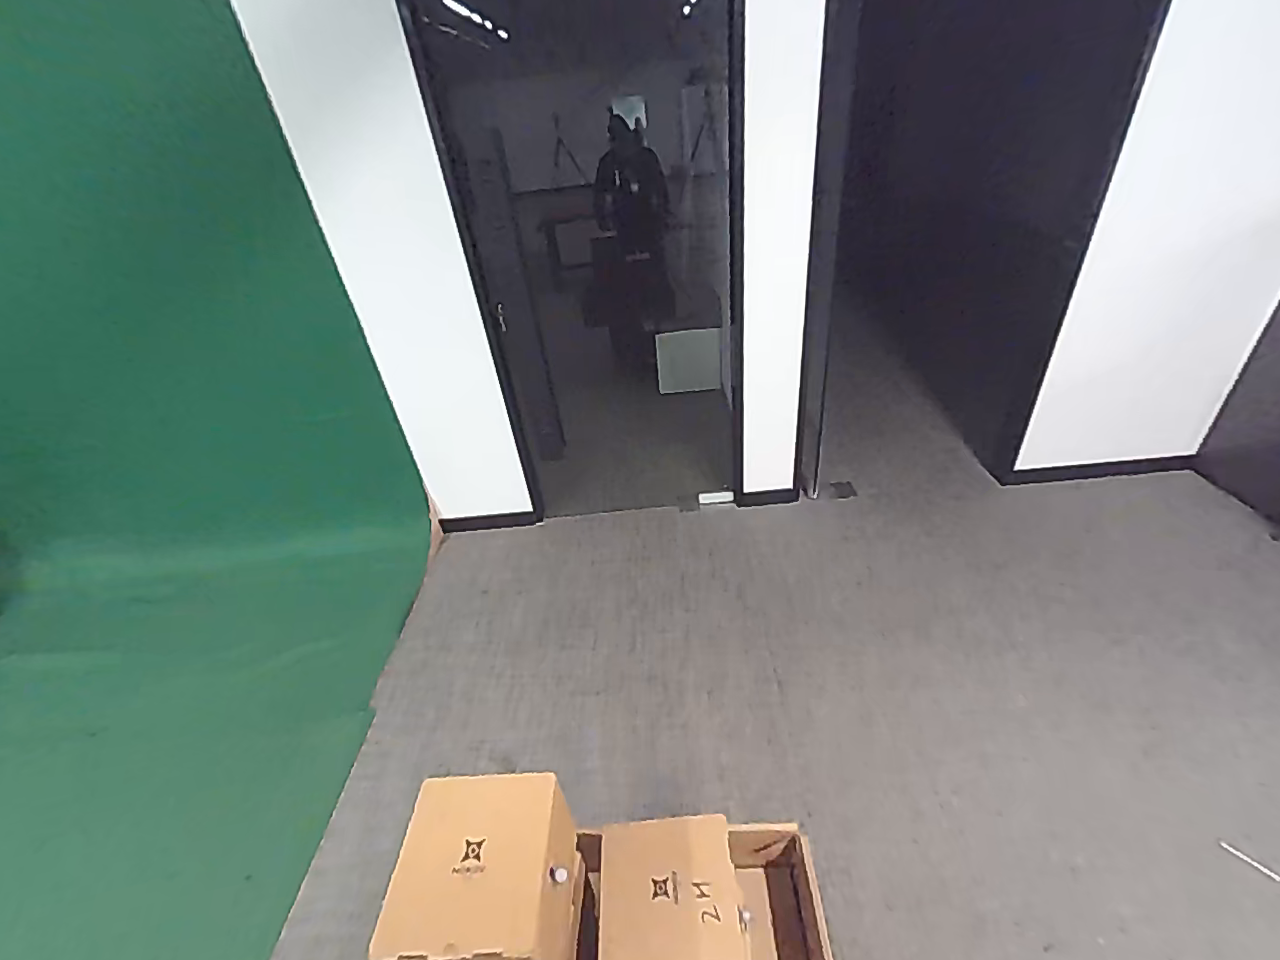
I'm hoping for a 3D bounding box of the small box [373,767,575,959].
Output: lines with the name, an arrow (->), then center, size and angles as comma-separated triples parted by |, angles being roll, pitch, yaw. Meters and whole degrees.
small box -> -0.174, 0.468, 0.634 | 0.168, 0.176, 0.179 | -4, 34, 3
